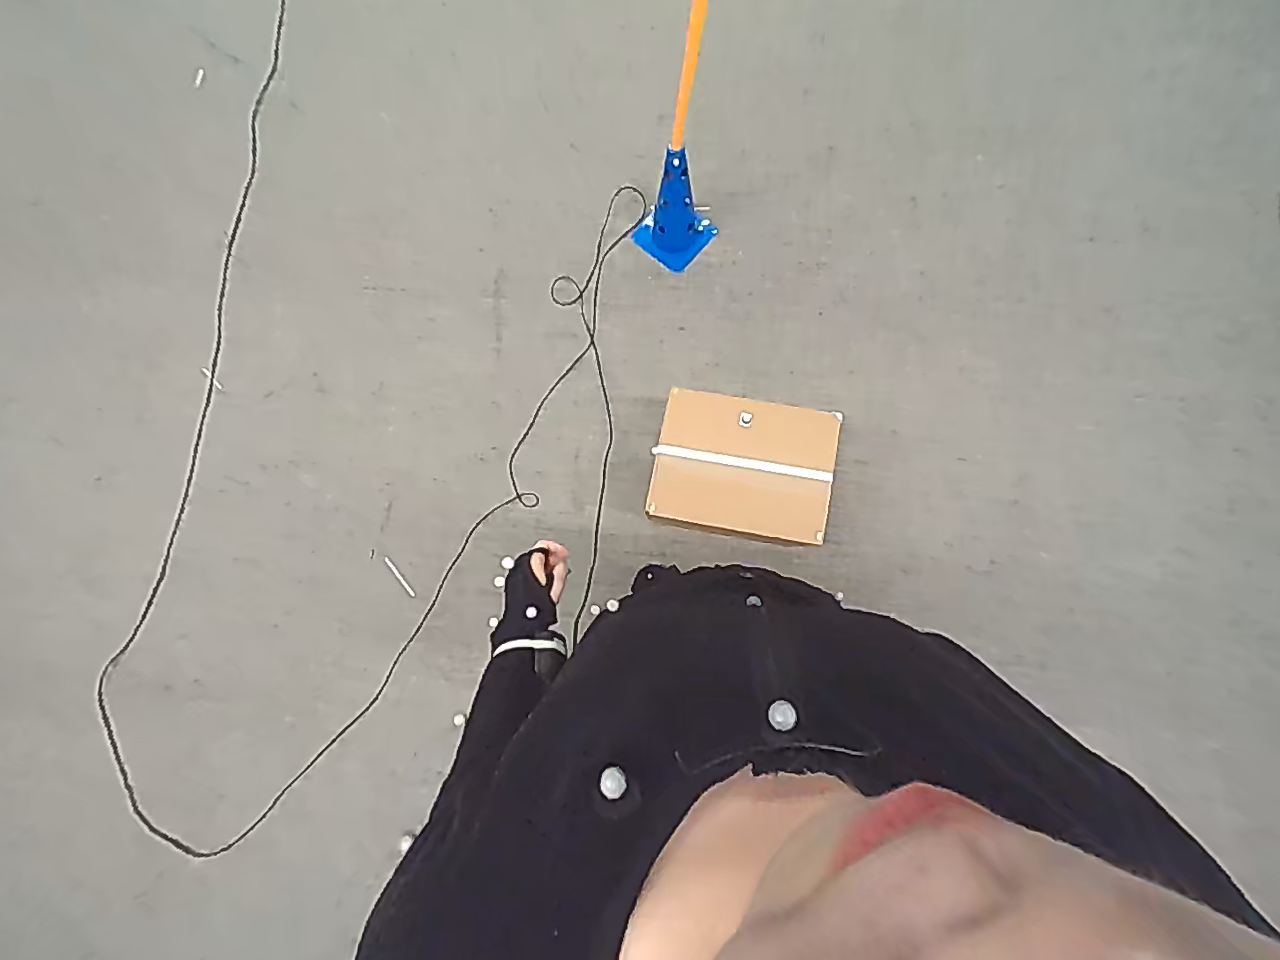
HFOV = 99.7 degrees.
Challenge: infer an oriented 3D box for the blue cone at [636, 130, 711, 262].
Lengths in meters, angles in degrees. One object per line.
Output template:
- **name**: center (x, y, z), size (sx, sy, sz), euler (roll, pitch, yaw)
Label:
- **blue cone**: center (0.095, -0.798, 1.477), size (0.192, 0.380, 0.193), euler (38, 84, 7)
